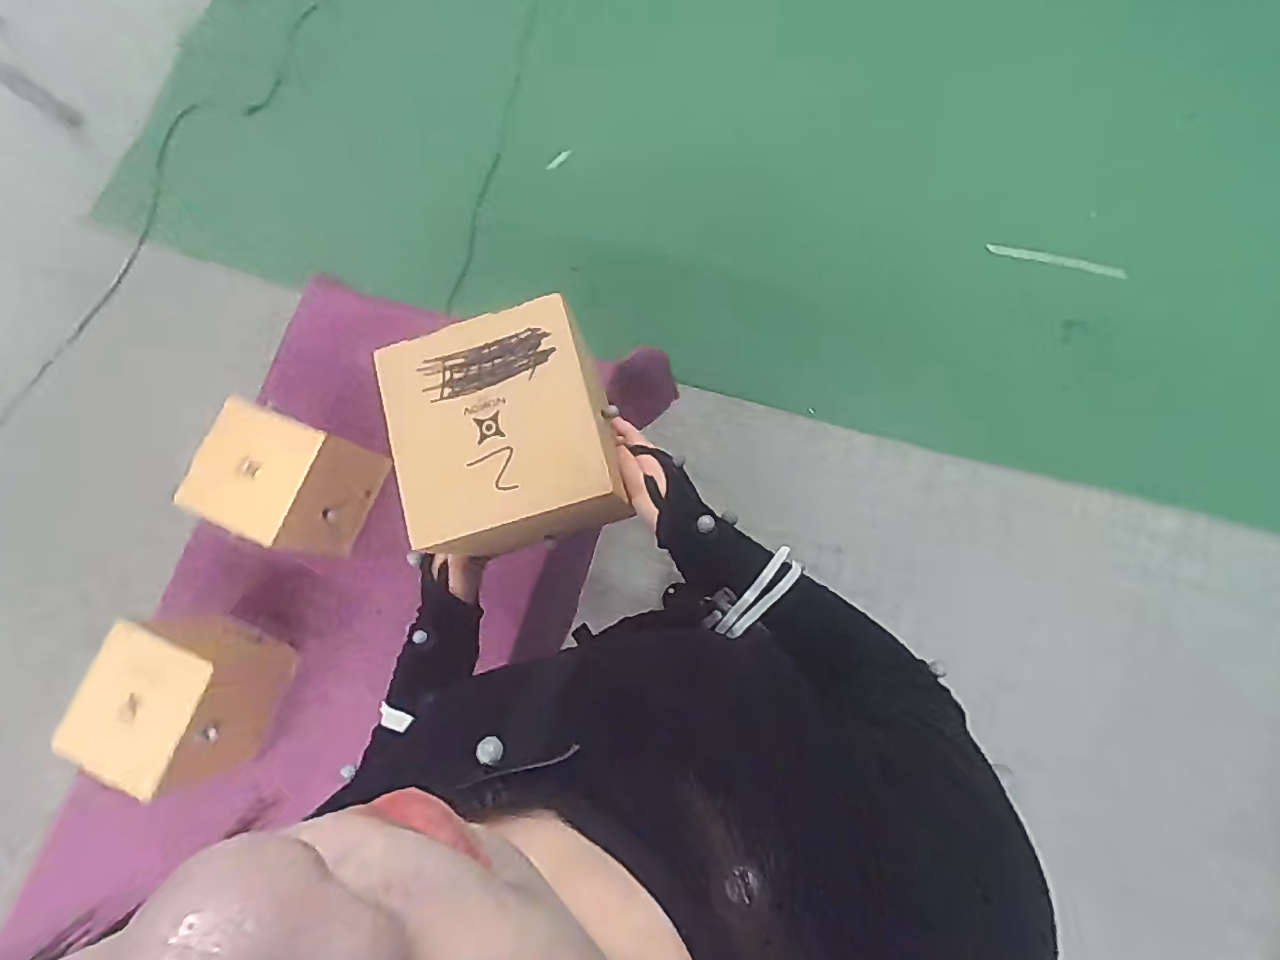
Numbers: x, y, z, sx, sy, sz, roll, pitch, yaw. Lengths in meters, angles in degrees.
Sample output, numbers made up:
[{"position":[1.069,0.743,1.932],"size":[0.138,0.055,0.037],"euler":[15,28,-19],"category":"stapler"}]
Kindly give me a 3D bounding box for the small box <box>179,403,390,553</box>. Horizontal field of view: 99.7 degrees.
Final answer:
[{"position":[-0.523,0.006,0.825],"size":[0.179,0.176,0.168],"euler":[20,81,12],"category":"small box"}]

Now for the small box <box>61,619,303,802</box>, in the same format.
[{"position":[-0.633,0.311,0.772],"size":[0.168,0.176,0.179],"euler":[20,80,11],"category":"small box"}]
